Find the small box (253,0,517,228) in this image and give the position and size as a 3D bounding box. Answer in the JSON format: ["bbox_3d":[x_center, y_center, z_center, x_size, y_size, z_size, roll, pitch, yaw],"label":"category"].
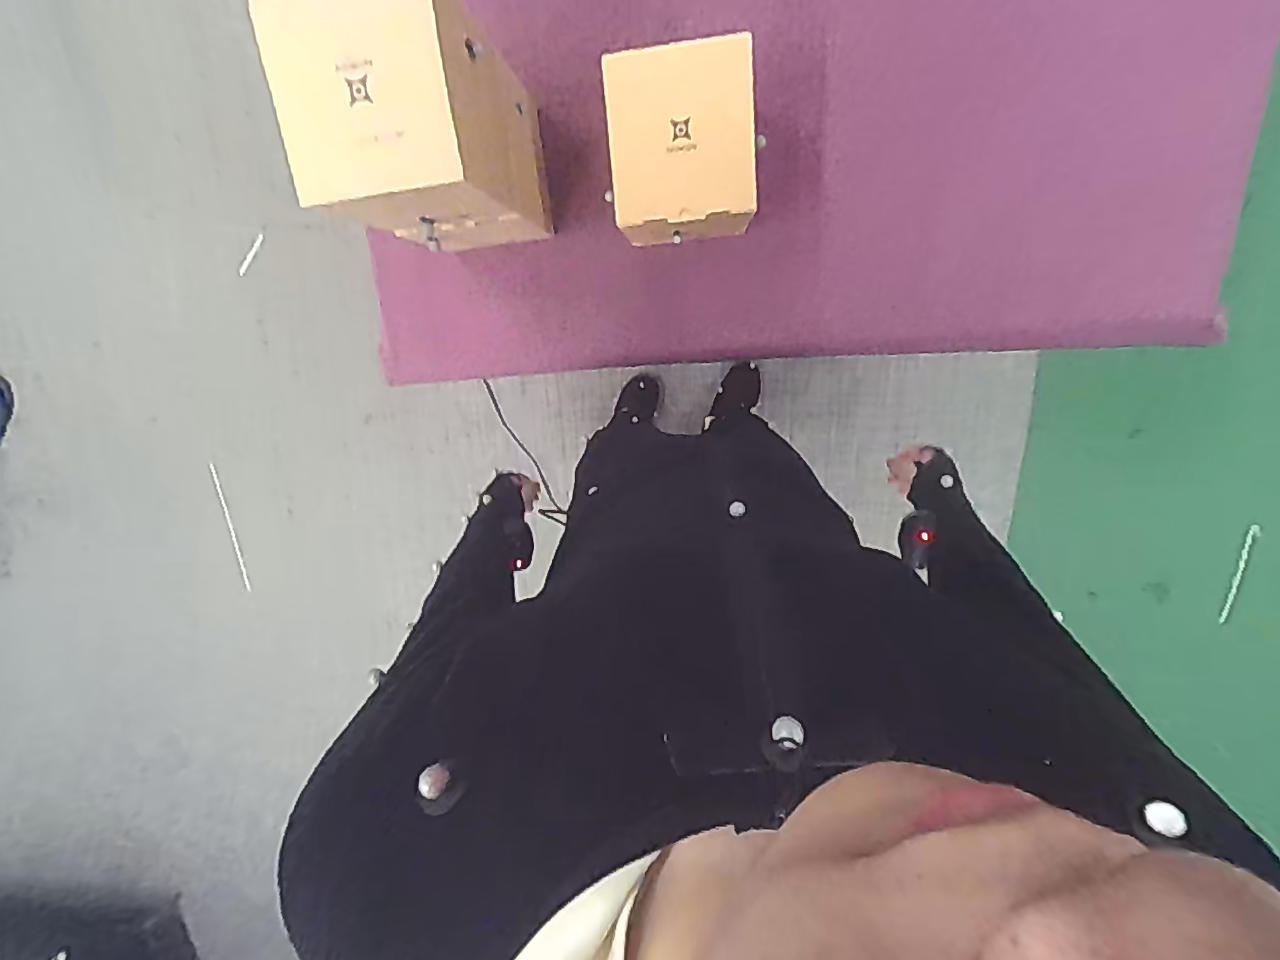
[{"bbox_3d":[-0.238,-0.372,0.550,0.168,0.176,0.179,-4,106,7],"label":"small box"}]

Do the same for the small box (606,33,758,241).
[{"bbox_3d":[0.055,-0.414,0.686,0.168,0.176,0.179,-4,107,6],"label":"small box"}]
